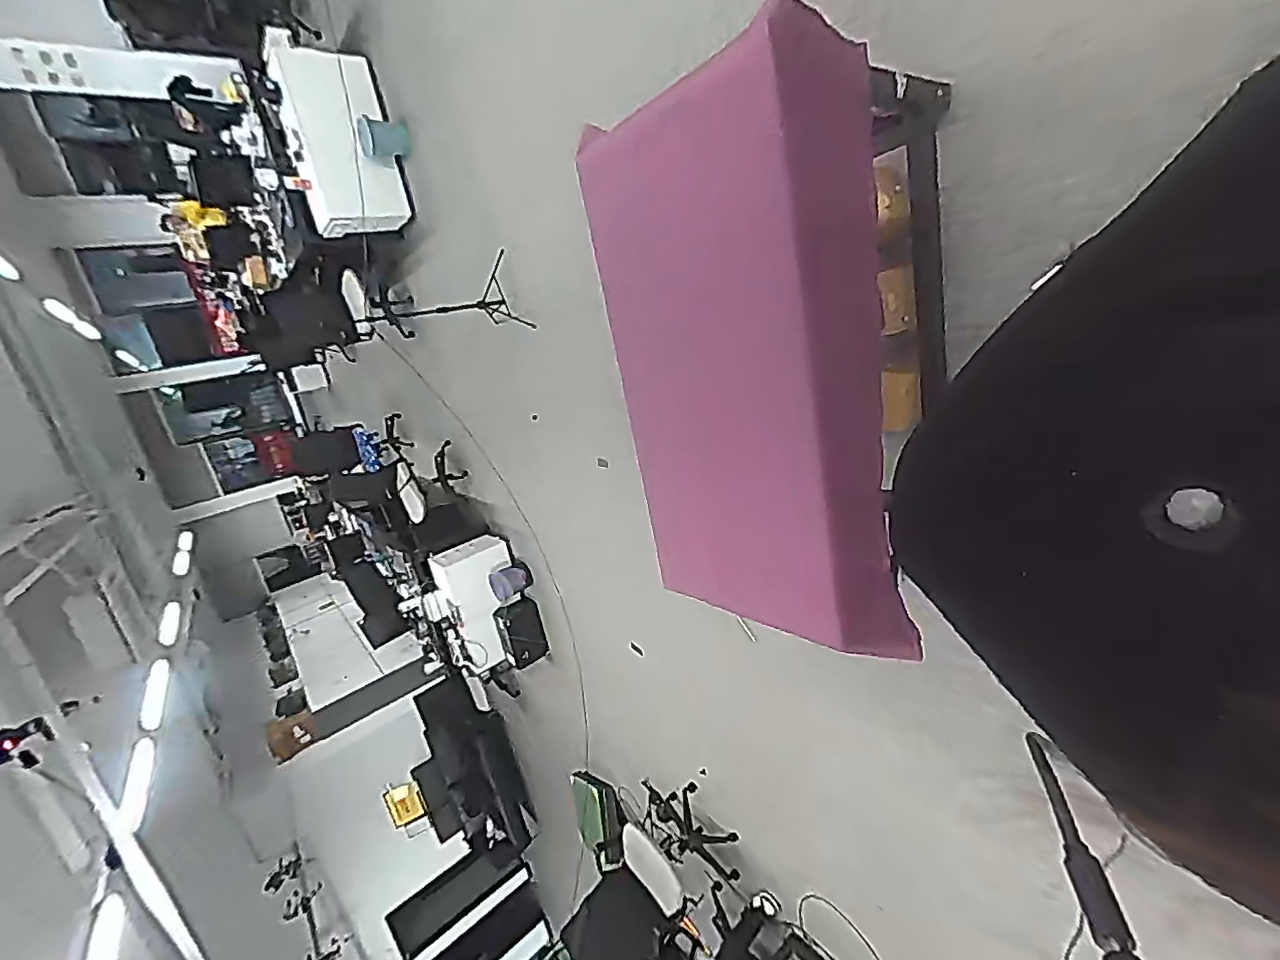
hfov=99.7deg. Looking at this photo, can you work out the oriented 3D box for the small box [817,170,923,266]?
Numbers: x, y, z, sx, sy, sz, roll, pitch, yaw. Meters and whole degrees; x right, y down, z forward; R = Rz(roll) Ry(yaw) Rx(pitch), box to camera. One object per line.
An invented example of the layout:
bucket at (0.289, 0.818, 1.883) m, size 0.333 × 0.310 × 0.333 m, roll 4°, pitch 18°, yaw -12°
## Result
small box at (0.635, -0.722, 1.492) m, size 0.168 × 0.176 × 0.179 m, roll 62°, pitch 146°, yaw 8°
